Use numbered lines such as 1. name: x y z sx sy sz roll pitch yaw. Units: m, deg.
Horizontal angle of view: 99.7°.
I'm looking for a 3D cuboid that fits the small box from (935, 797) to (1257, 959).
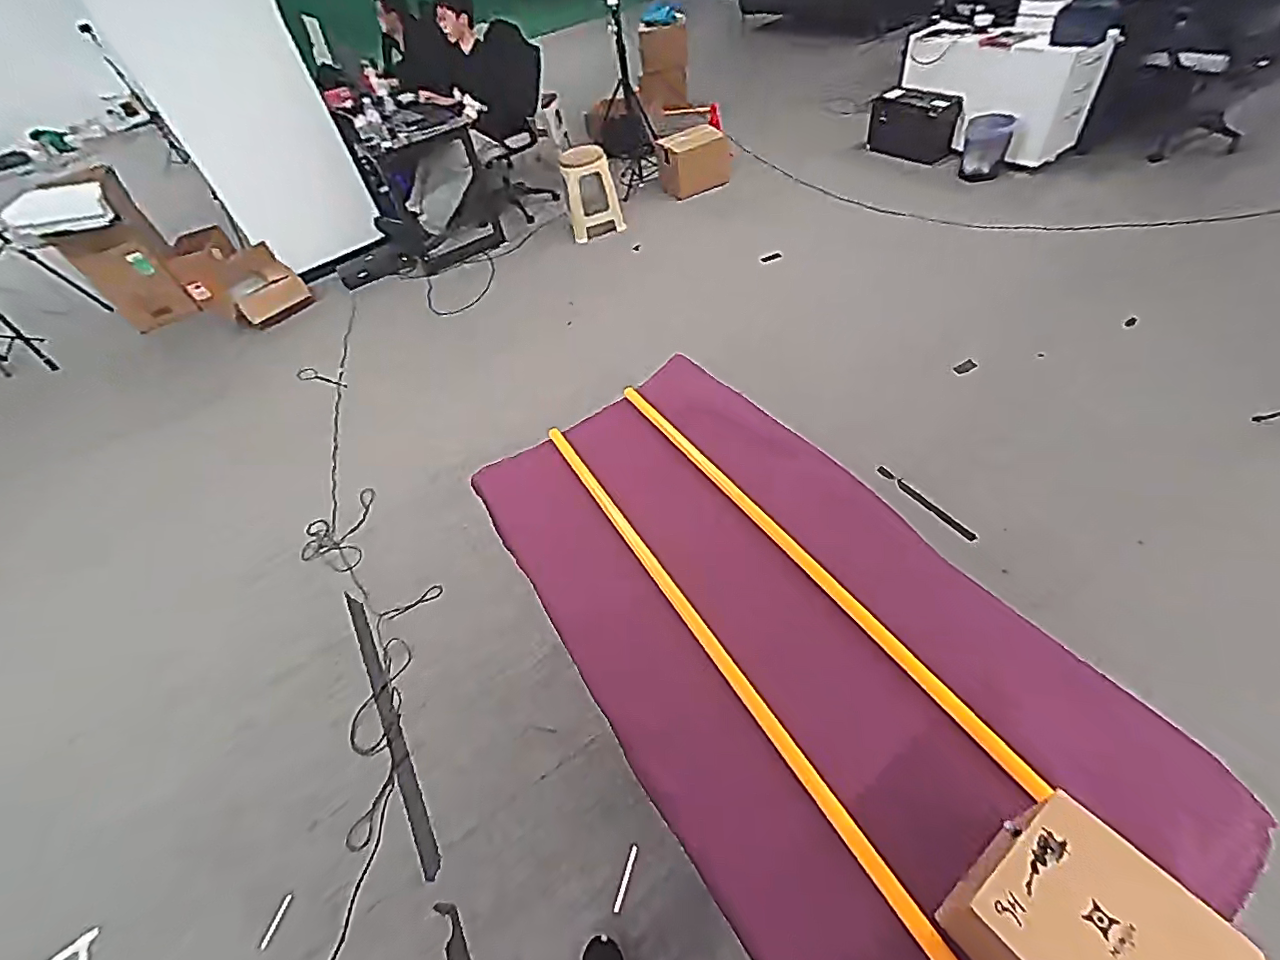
1. small box: 0.448 0.475 0.559 0.168 0.176 0.179 -33 50 -17
